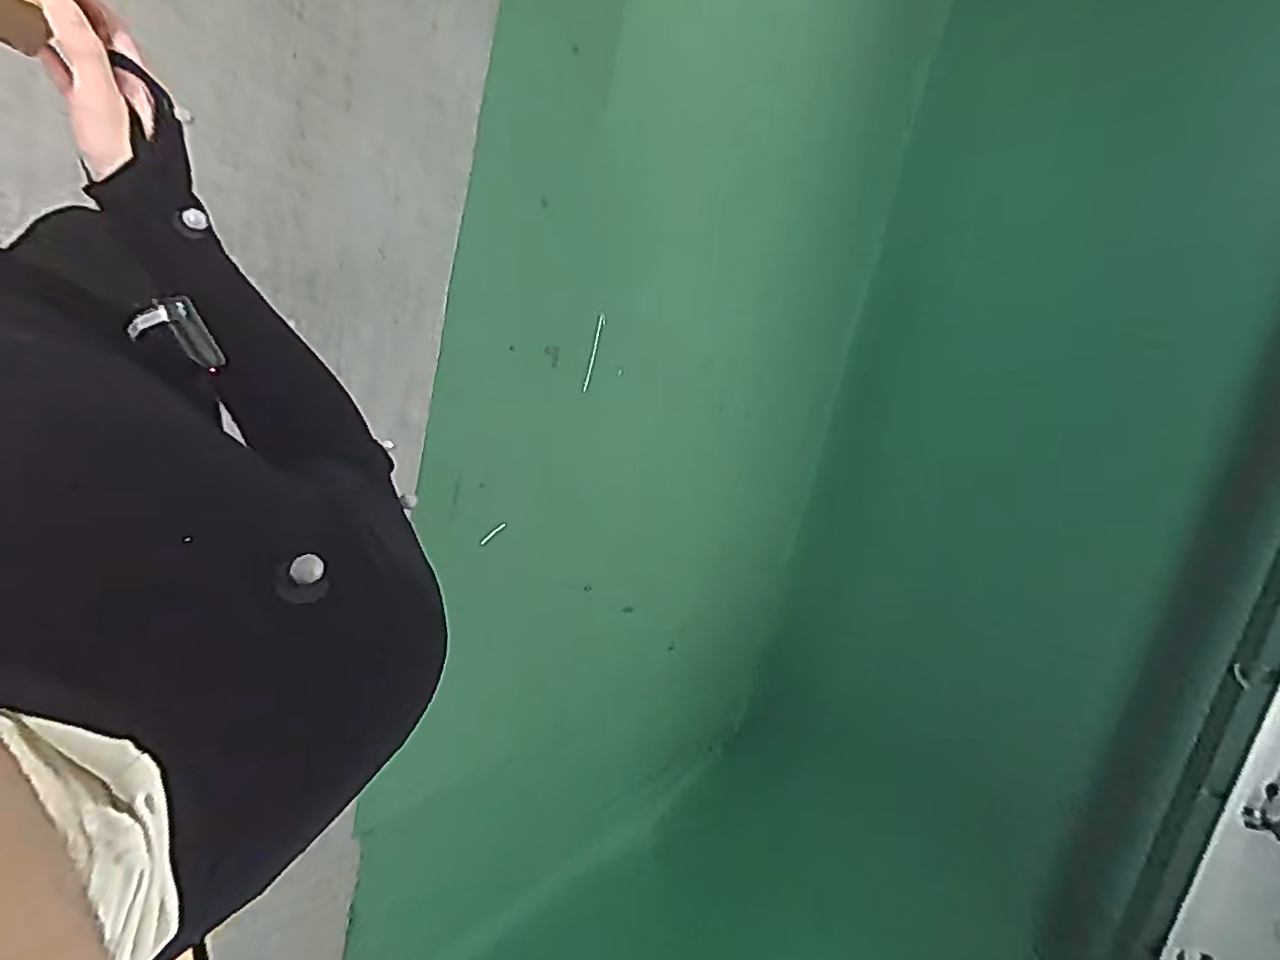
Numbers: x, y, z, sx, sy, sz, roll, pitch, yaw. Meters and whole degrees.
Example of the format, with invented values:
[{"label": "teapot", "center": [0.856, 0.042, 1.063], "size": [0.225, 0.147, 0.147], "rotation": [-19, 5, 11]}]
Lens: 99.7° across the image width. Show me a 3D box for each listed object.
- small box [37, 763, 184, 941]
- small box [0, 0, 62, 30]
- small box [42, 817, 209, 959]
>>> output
[{"label": "small box", "center": [-0.976, 0.668, 0.995], "size": [0.168, 0.176, 0.179], "rotation": [8, 100, -52]}, {"label": "small box", "center": [-0.453, -0.420, 0.317], "size": [0.168, 0.176, 0.179], "rotation": [8, 103, -54]}, {"label": "small box", "center": [-0.854, 0.713, 0.896], "size": [0.168, 0.176, 0.179], "rotation": [10, 98, -53]}]
